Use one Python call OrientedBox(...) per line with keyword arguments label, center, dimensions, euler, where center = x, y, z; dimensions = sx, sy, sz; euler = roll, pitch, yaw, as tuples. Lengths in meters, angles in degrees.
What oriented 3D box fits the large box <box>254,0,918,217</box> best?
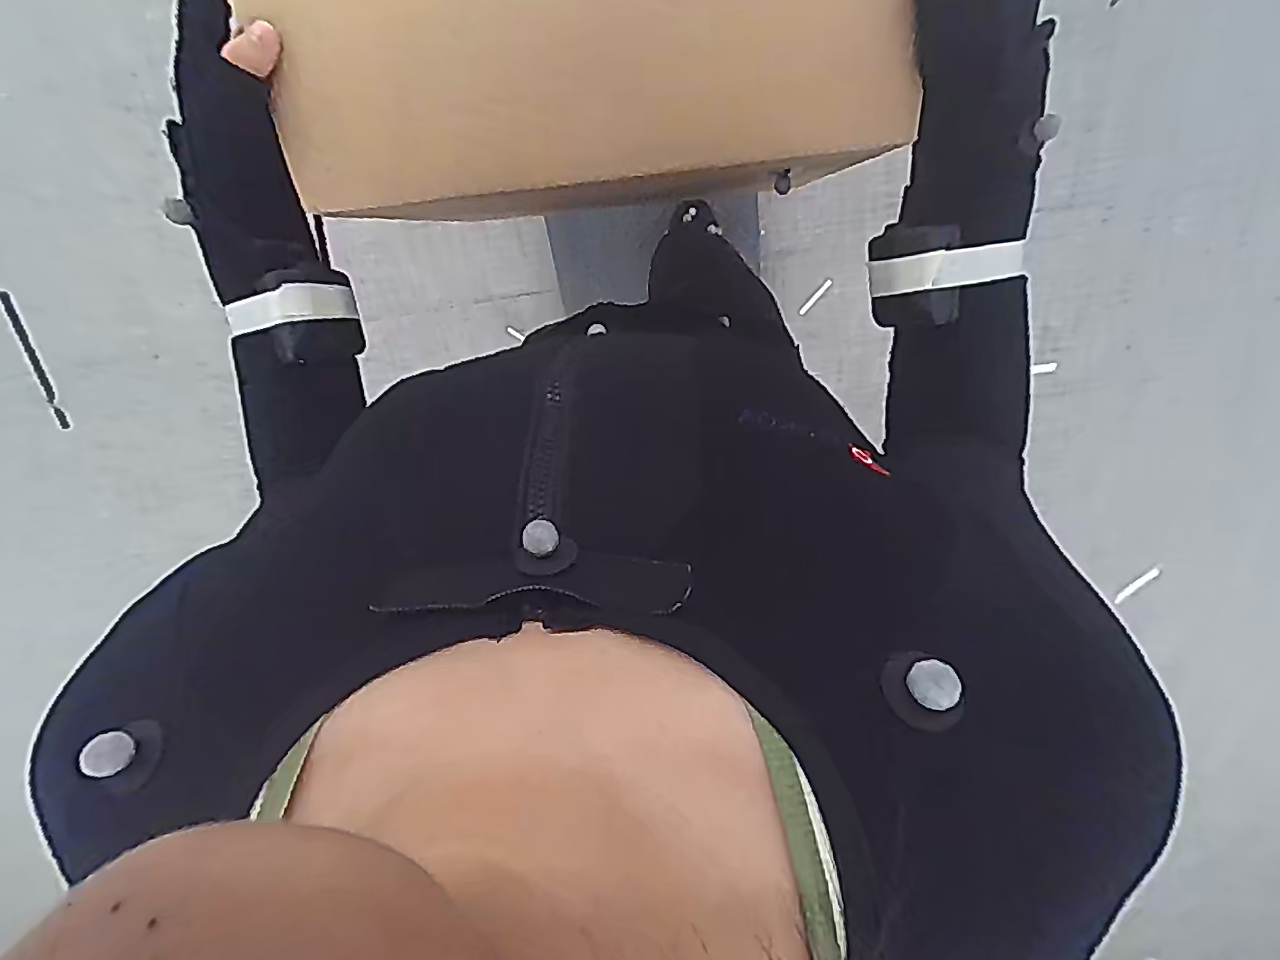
OrientedBox(label="large box", center=(-0.034, -0.405, 0.435), dimensions=(0.408, 0.320, 0.320), euler=(-4, 114, 5))
